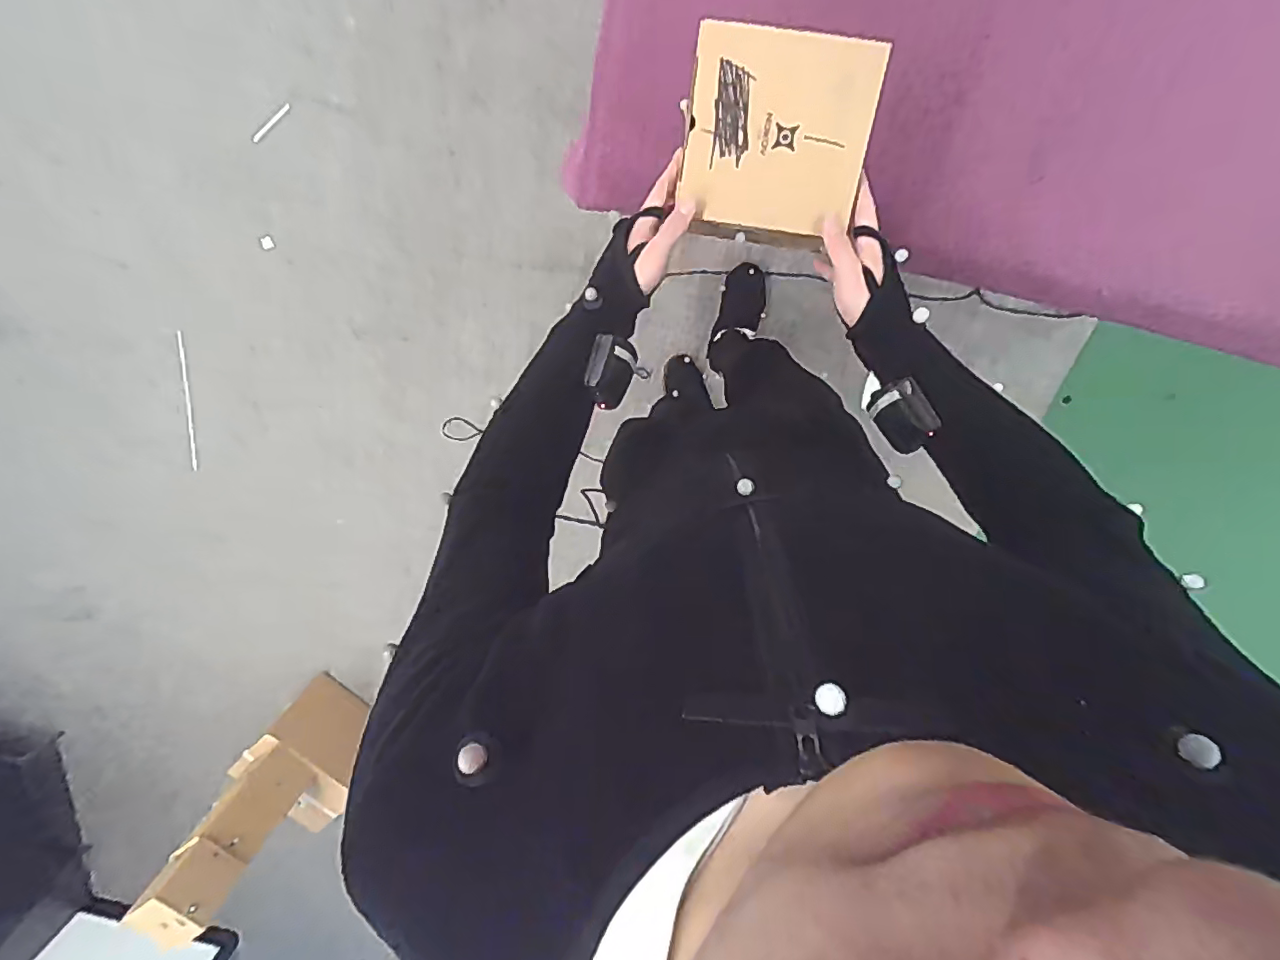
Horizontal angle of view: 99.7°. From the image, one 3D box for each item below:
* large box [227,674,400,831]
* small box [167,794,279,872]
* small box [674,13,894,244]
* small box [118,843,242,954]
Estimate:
[{"bbox_3d":[-1.233,1.037,2.075,0.320,0.320,0.408,-41,104,20],"label":"large box"},{"bbox_3d":[-1.277,1.107,1.666,0.168,0.176,0.179,-38,105,17],"label":"small box"},{"bbox_3d":[0.136,-0.357,0.584,0.179,0.176,0.168,9,111,1],"label":"small box"},{"bbox_3d":[-1.275,1.165,1.512,0.179,0.176,0.168,-36,106,18],"label":"small box"}]
